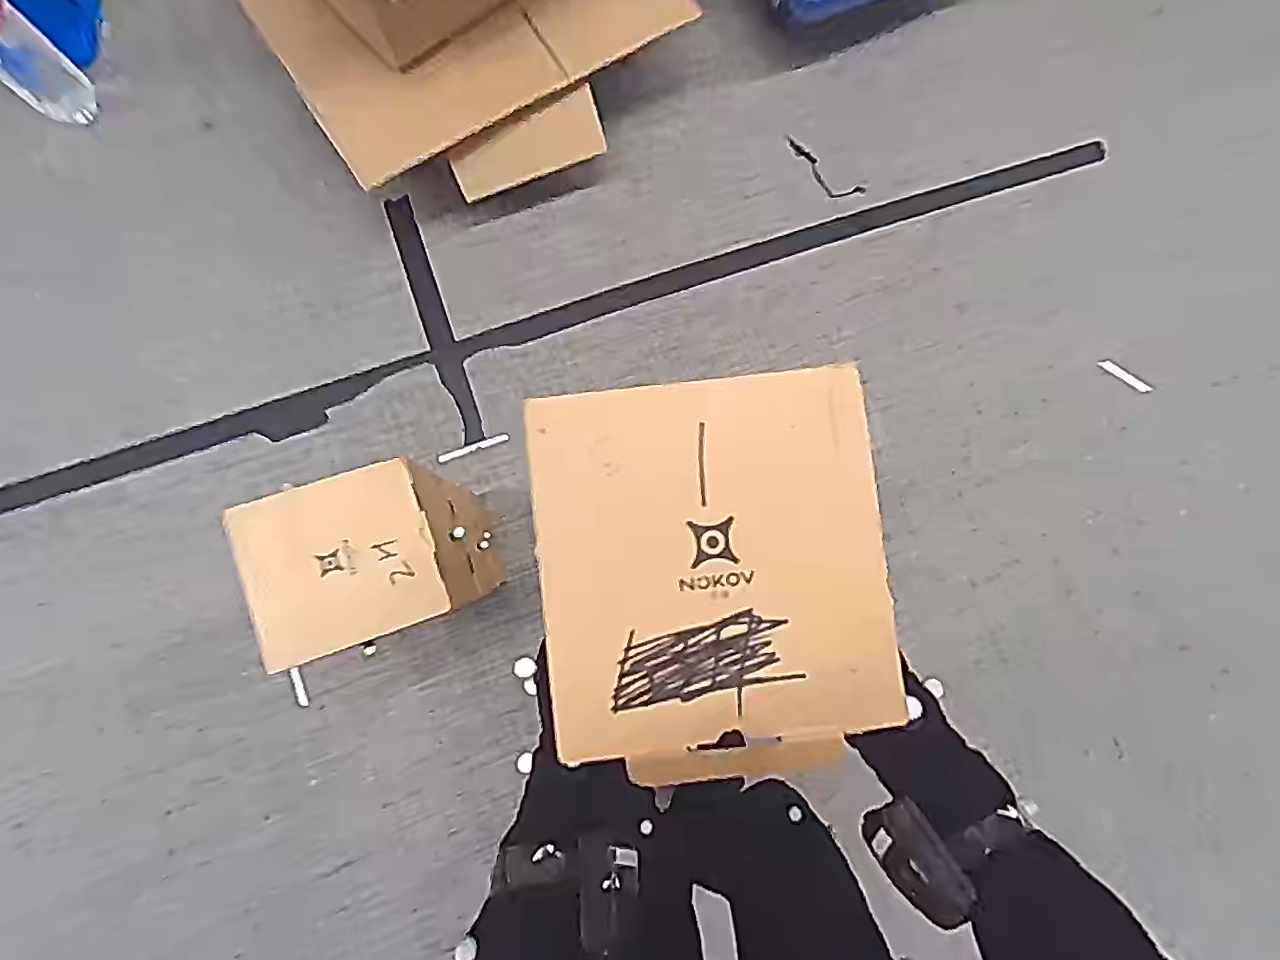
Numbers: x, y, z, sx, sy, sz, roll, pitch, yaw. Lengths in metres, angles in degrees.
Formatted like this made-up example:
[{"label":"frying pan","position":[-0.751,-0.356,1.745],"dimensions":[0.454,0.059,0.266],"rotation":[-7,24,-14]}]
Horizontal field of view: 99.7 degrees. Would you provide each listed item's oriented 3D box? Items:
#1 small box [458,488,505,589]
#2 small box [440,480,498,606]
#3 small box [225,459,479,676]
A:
[{"label":"small box","position":[-0.340,0.127,0.917],"dimensions":[0.168,0.176,0.179],"rotation":[-20,85,-10]},{"label":"small box","position":[-0.315,0.113,0.757],"dimensions":[0.179,0.176,0.168],"rotation":[-19,85,-10]},{"label":"small box","position":[-0.296,0.091,0.594],"dimensions":[0.179,0.176,0.168],"rotation":[-19,86,-10]}]
